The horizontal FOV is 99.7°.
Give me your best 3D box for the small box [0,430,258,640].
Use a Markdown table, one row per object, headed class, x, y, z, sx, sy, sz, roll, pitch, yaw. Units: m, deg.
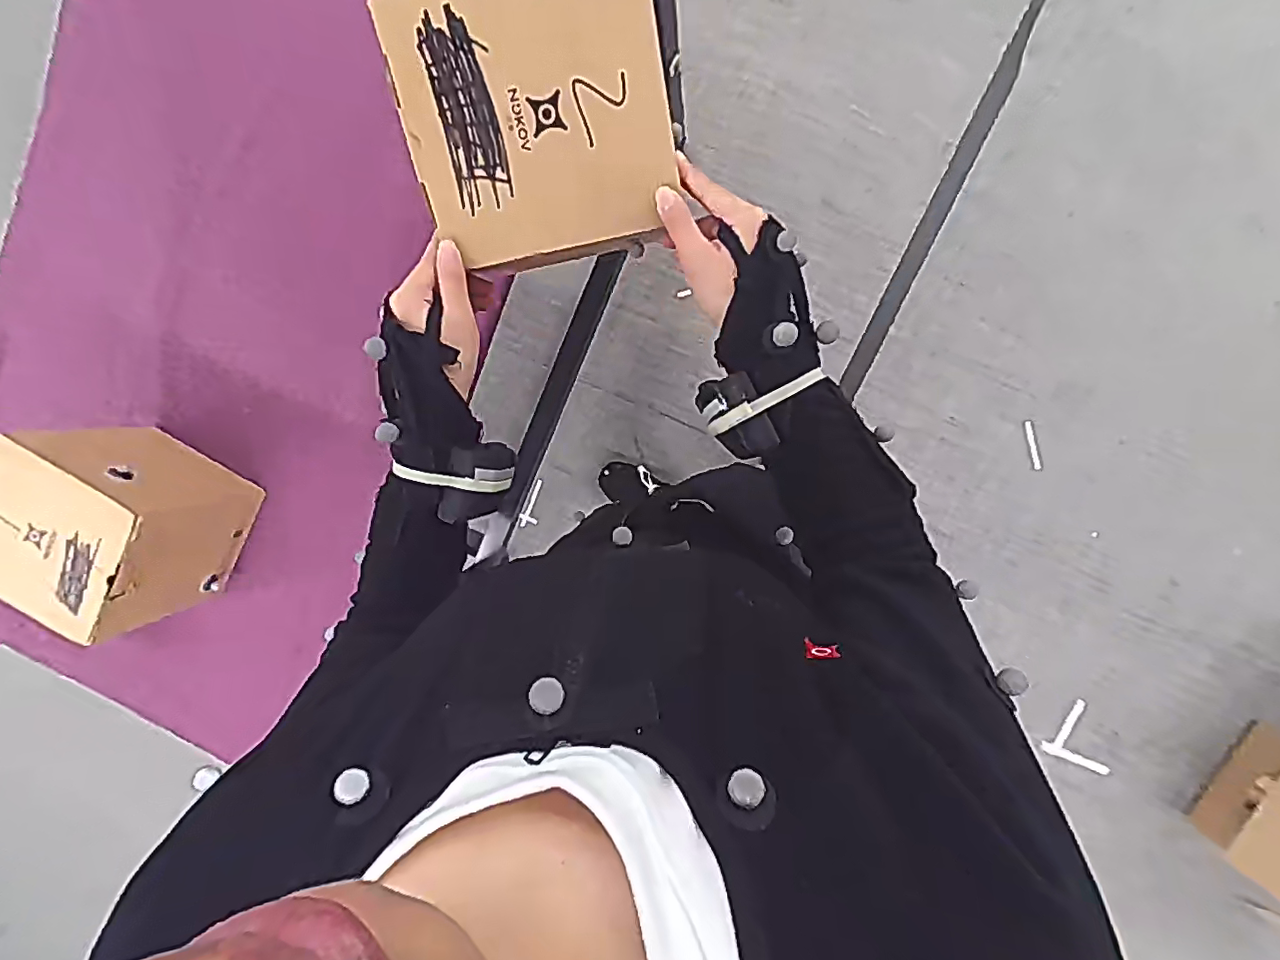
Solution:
| class | x | y | z | sx | sy | sz | roll | pitch | yaw |
| --- | --- | --- | --- | --- | --- | --- | --- | --- | --- |
| small box | -0.604 | 0.048 | 0.633 | 0.179 | 0.176 | 0.168 | 30 | 98 | 2 |
